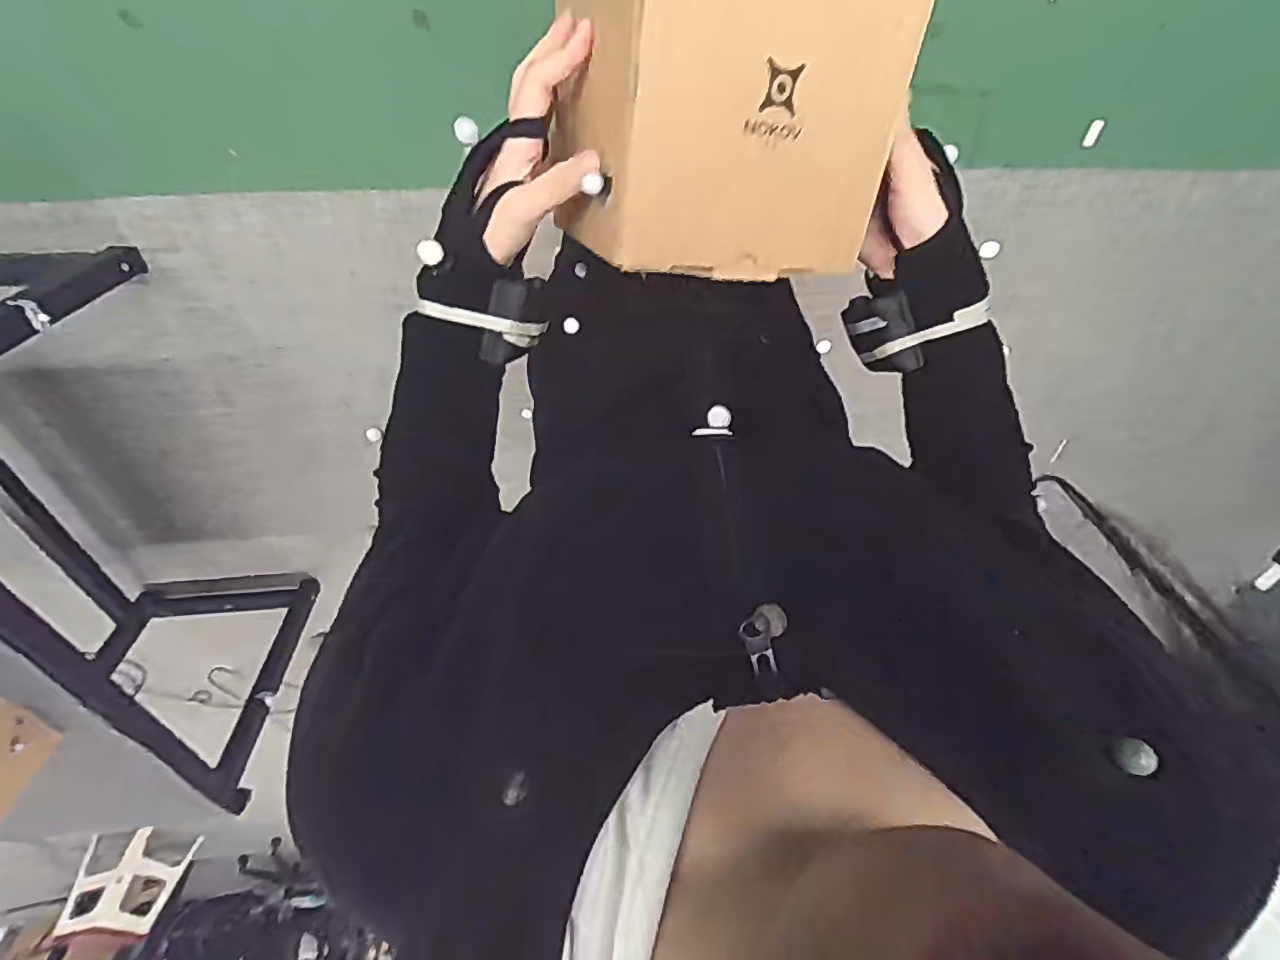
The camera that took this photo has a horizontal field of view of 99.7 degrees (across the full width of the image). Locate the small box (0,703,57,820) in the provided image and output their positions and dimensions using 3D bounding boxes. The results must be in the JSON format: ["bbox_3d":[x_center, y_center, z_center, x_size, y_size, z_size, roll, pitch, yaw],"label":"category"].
[{"bbox_3d":[-1.213,0.510,0.943,0.179,0.176,0.168,-4,131,-4],"label":"small box"}]

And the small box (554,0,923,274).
[{"bbox_3d":[0.042,-0.244,0.353,0.168,0.176,0.179,-7,124,-21],"label":"small box"}]
